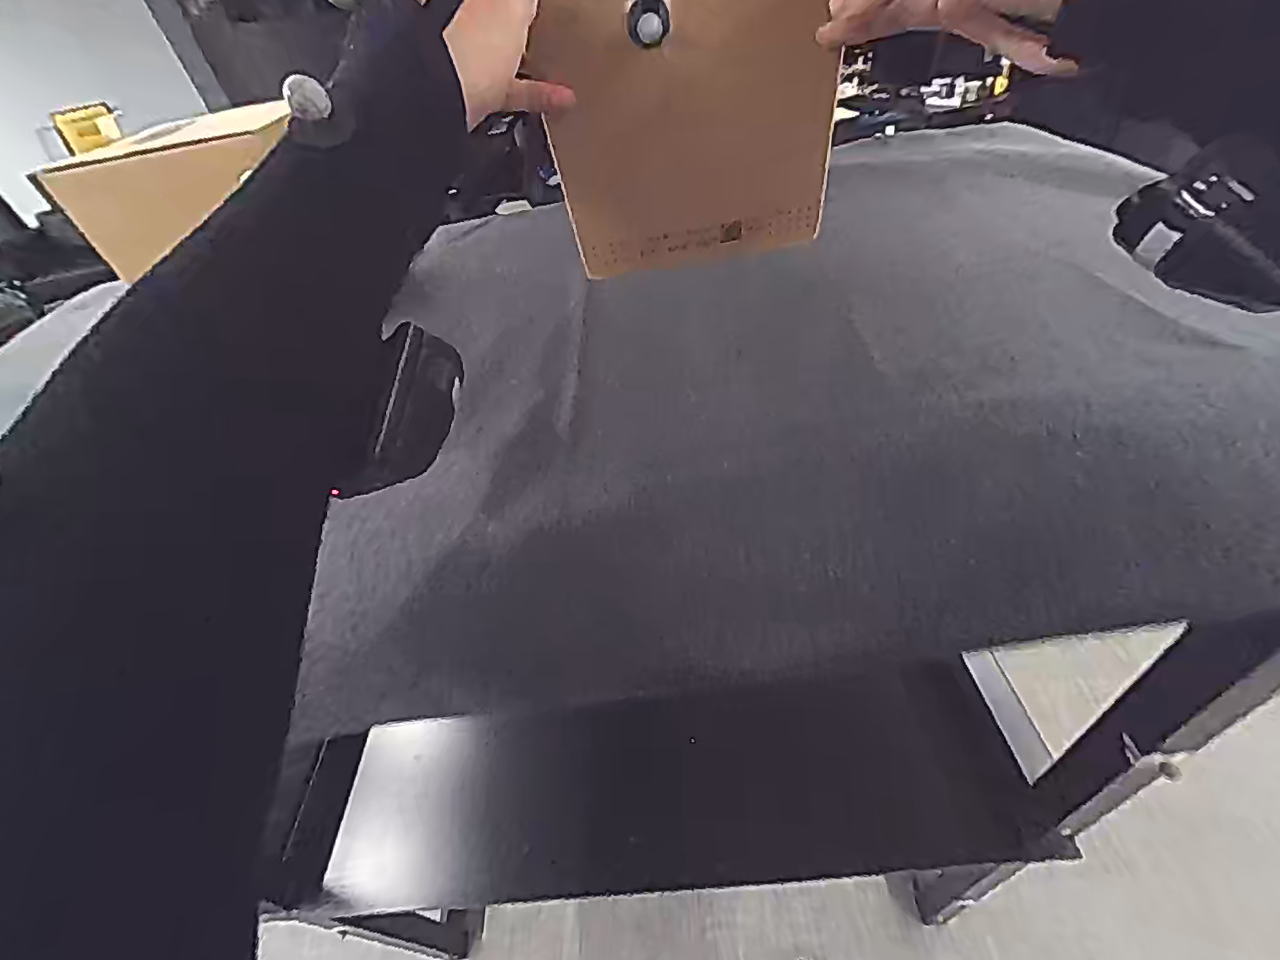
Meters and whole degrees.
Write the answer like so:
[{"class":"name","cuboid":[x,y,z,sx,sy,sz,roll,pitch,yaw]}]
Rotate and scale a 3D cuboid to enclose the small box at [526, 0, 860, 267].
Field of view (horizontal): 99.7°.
[{"class":"small box","cuboid":[0.029,-0.270,0.353,0.168,0.176,0.179,-8,57,5]}]
